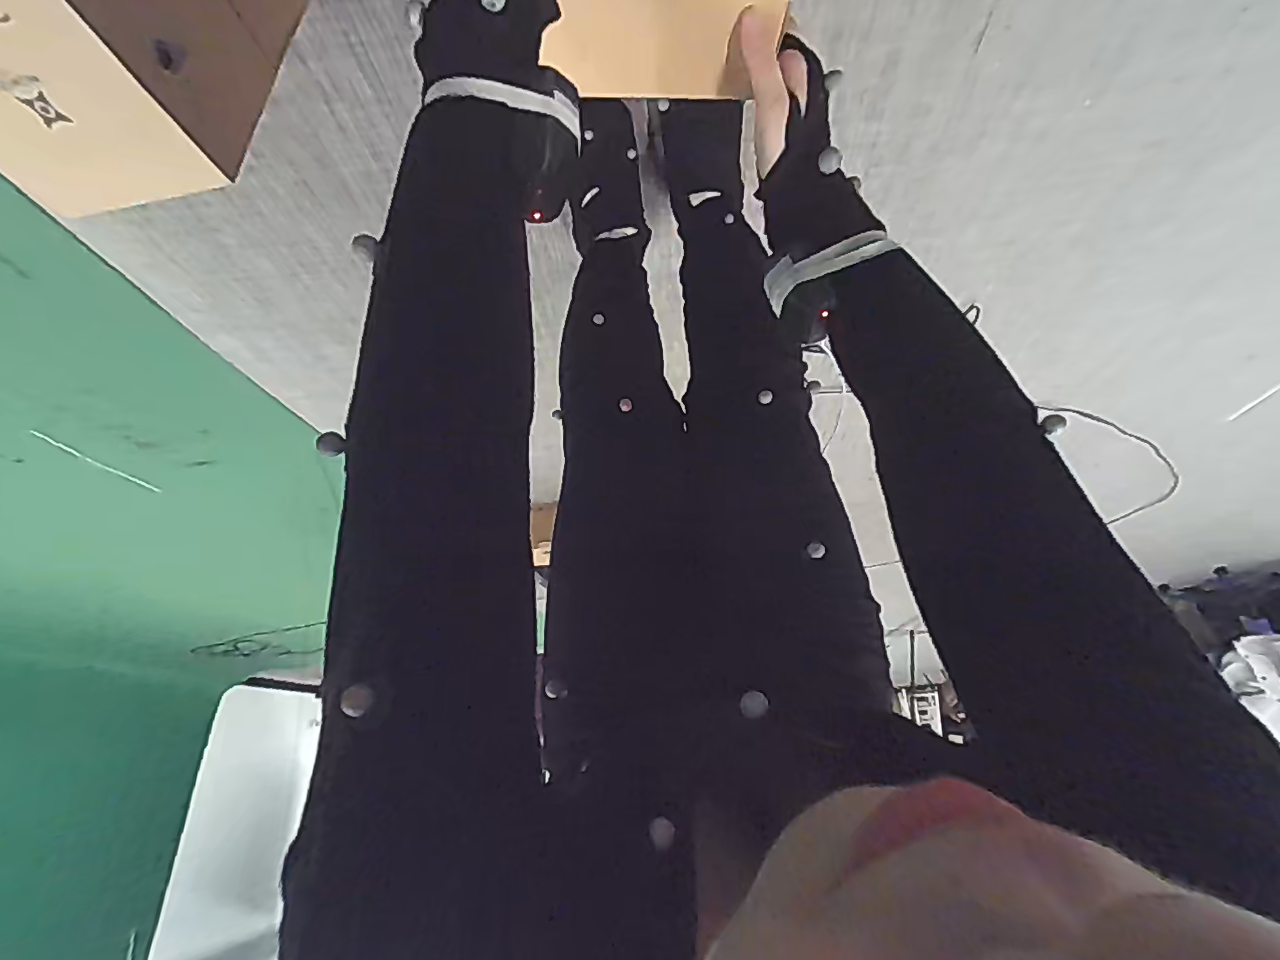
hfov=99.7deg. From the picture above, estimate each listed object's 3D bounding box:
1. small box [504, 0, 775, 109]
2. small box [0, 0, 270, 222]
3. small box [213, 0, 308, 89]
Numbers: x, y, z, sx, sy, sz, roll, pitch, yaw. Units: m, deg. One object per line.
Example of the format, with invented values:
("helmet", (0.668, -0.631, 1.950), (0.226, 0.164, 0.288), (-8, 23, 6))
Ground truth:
("small box", (-0.002, -0.387, 0.362), (0.179, 0.176, 0.168), (-2, 158, -3))
("small box", (-0.450, -0.352, 0.441), (0.168, 0.176, 0.179), (-7, 153, 6))
("small box", (-0.456, -0.500, 0.512), (0.168, 0.176, 0.179), (-6, 153, 5))
